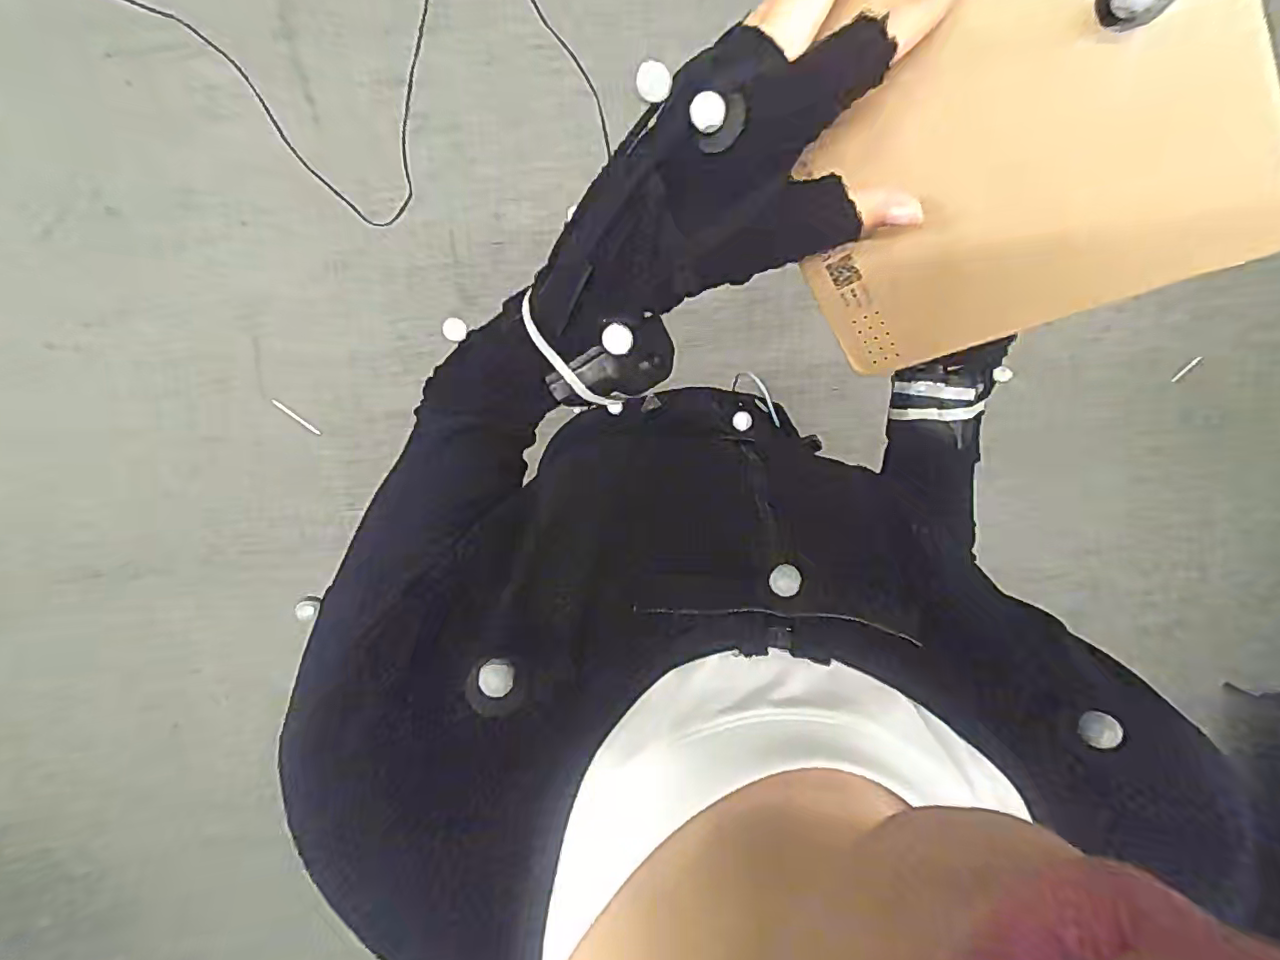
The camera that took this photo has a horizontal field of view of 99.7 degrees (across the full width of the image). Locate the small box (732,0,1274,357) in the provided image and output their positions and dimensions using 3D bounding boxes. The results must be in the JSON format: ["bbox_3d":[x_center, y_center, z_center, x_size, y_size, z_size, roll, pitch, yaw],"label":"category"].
[{"bbox_3d":[0.179,-0.191,0.280,0.179,0.176,0.168,-44,108,-34],"label":"small box"}]
